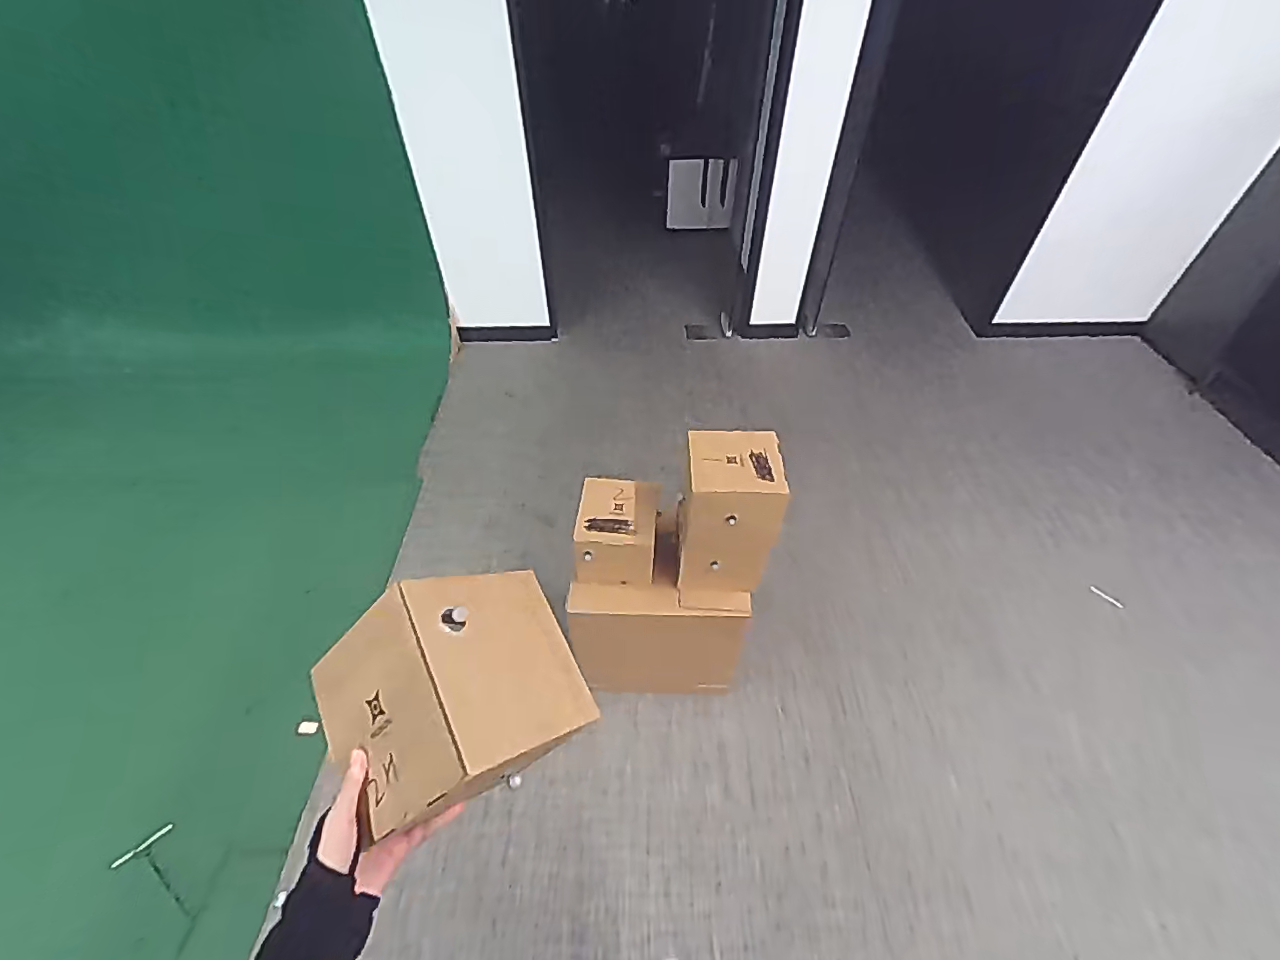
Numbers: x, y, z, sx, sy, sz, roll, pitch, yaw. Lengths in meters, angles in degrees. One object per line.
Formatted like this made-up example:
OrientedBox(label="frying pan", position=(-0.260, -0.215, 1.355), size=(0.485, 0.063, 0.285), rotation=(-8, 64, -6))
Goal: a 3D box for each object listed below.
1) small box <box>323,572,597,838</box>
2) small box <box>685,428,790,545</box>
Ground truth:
OrientedBox(label="small box", position=(-0.177, 0.207, 0.544), size=(0.176, 0.168, 0.179), rotation=(8, 45, -56))
OrientedBox(label="small box", position=(0.182, 0.016, 1.069), size=(0.179, 0.176, 0.168), rotation=(1, 49, 2))
